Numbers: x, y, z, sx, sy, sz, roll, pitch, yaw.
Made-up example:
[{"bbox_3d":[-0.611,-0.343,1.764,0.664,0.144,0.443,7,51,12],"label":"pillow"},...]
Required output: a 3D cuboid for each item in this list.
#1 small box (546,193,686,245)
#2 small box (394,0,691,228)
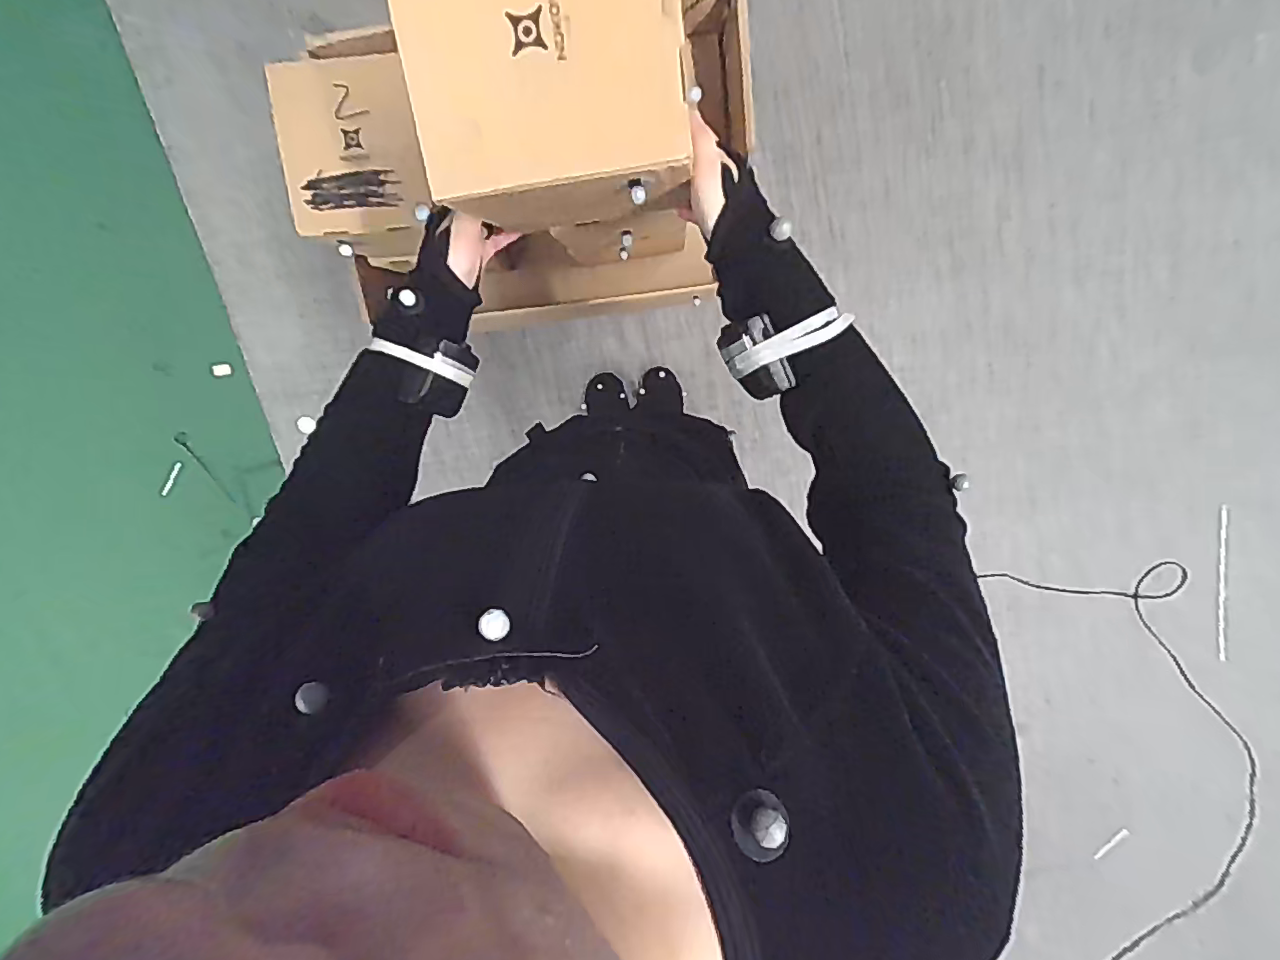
[{"bbox_3d":[-0.035,-0.397,0.664,0.168,0.176,0.179,-8,105,5],"label":"small box"},{"bbox_3d":[-0.054,-0.297,0.405,0.179,0.176,0.168,-5,108,6],"label":"small box"}]
